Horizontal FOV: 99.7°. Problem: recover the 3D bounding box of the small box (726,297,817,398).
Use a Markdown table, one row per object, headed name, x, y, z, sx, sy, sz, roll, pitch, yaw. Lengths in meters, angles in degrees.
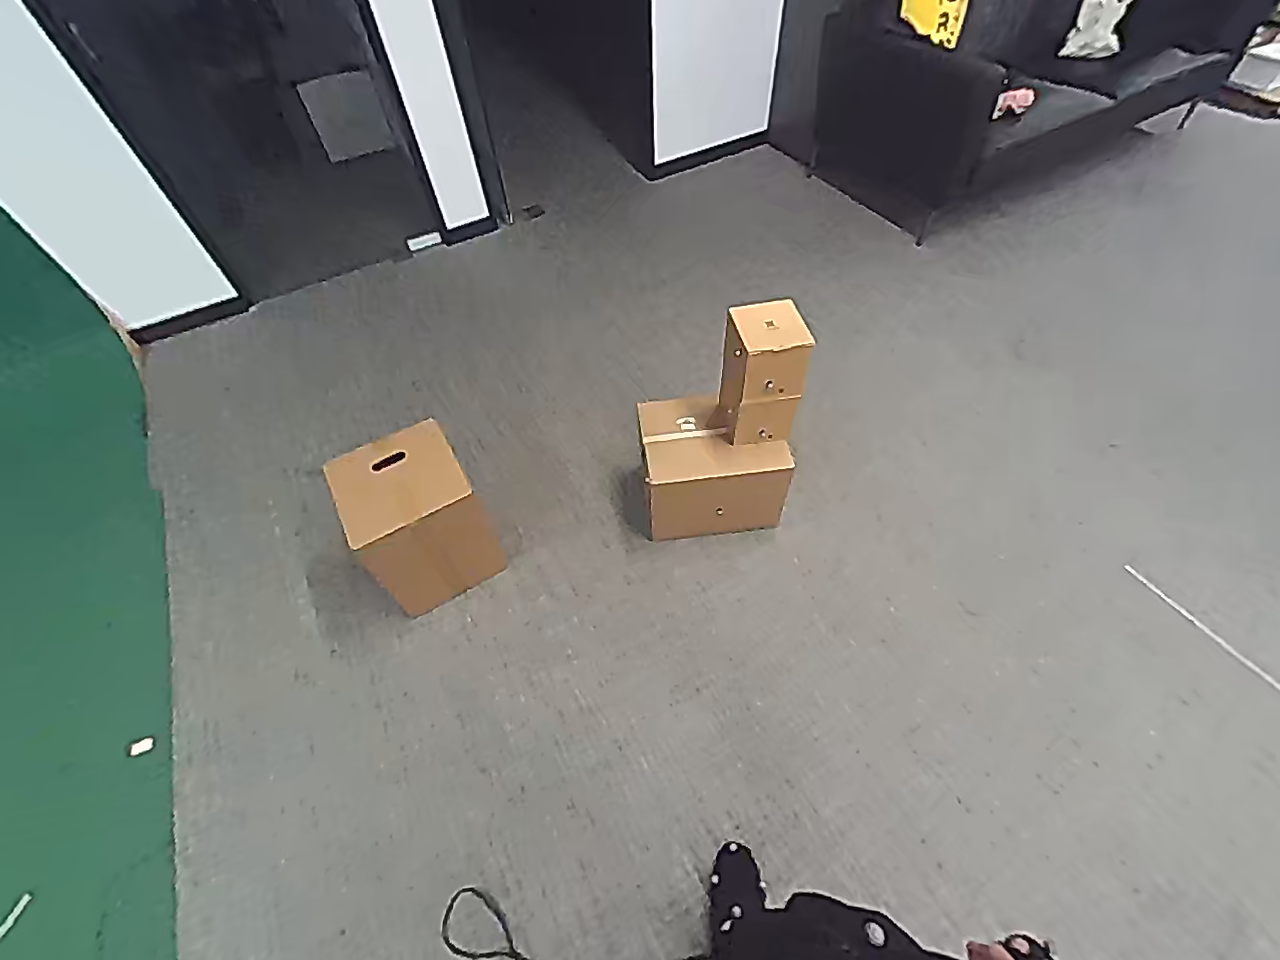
| name | x | y | z | sx | sy | sz | roll | pitch | yaw |
| --- | --- | --- | --- | --- | --- | --- | --- | --- | --- |
| small box | 0.321 | -0.332 | 1.368 | 0.168 | 0.176 | 0.179 | -9 | 54 | -4 |
